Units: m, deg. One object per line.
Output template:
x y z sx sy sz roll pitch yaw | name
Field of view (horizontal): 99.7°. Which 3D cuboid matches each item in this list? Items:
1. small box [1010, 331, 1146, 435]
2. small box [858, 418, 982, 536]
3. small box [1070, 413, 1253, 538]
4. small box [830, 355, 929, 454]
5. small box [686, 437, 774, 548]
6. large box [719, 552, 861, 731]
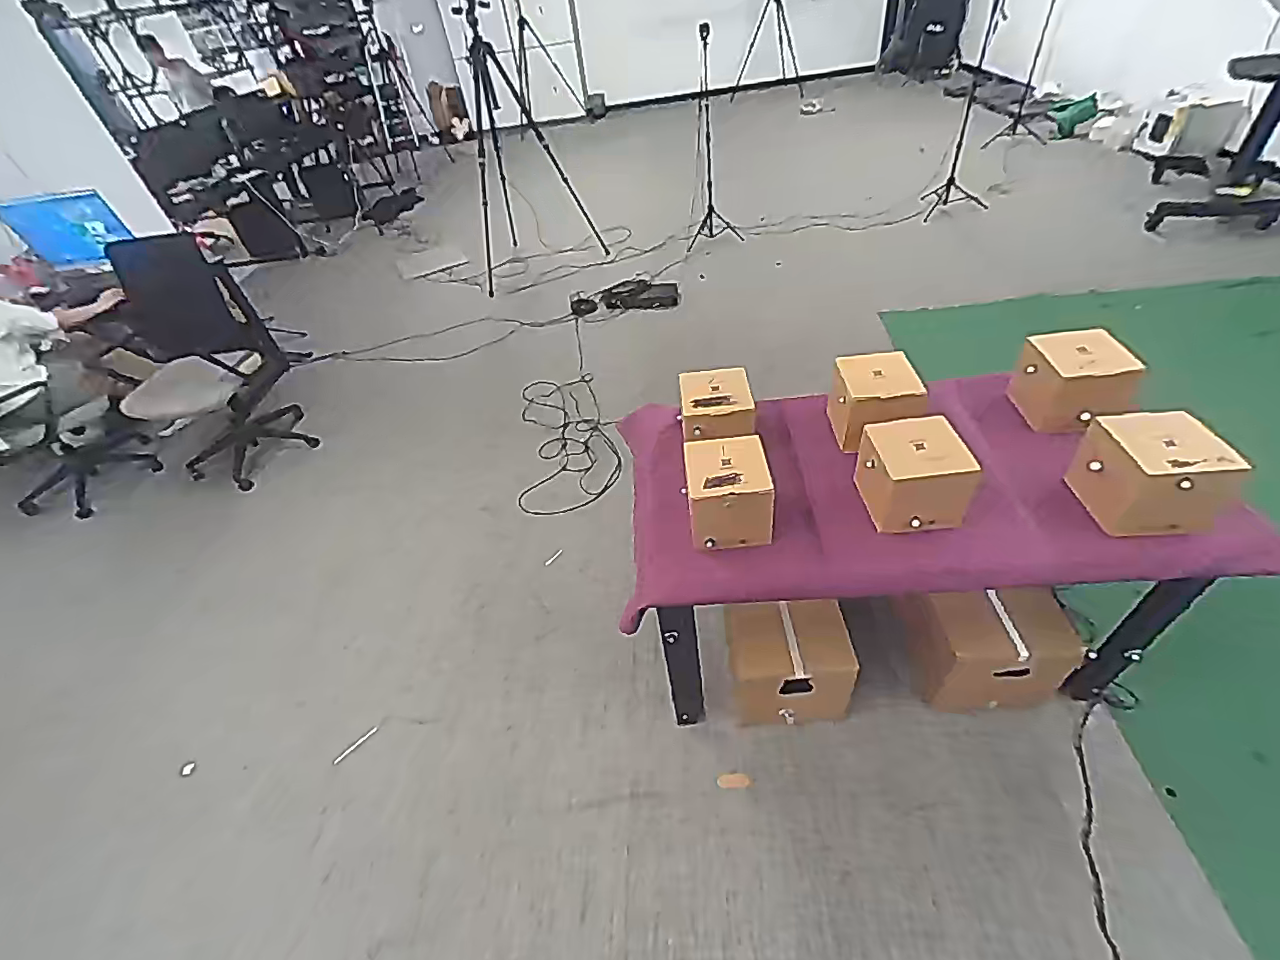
1.018 -0.227 1.280 0.168 0.176 0.179 -5 44 9 | small box
0.573 -0.006 1.137 0.168 0.176 0.179 -7 43 5 | small box
0.992 -0.009 1.054 0.168 0.176 0.179 -5 41 9 | small box
0.575 -0.184 1.328 0.168 0.176 0.179 -4 44 6 | small box
0.193 0.033 1.167 0.168 0.176 0.179 -6 42 4 | small box
0.425 0.481 1.622 0.320 0.320 0.408 -6 42 4 | large box
